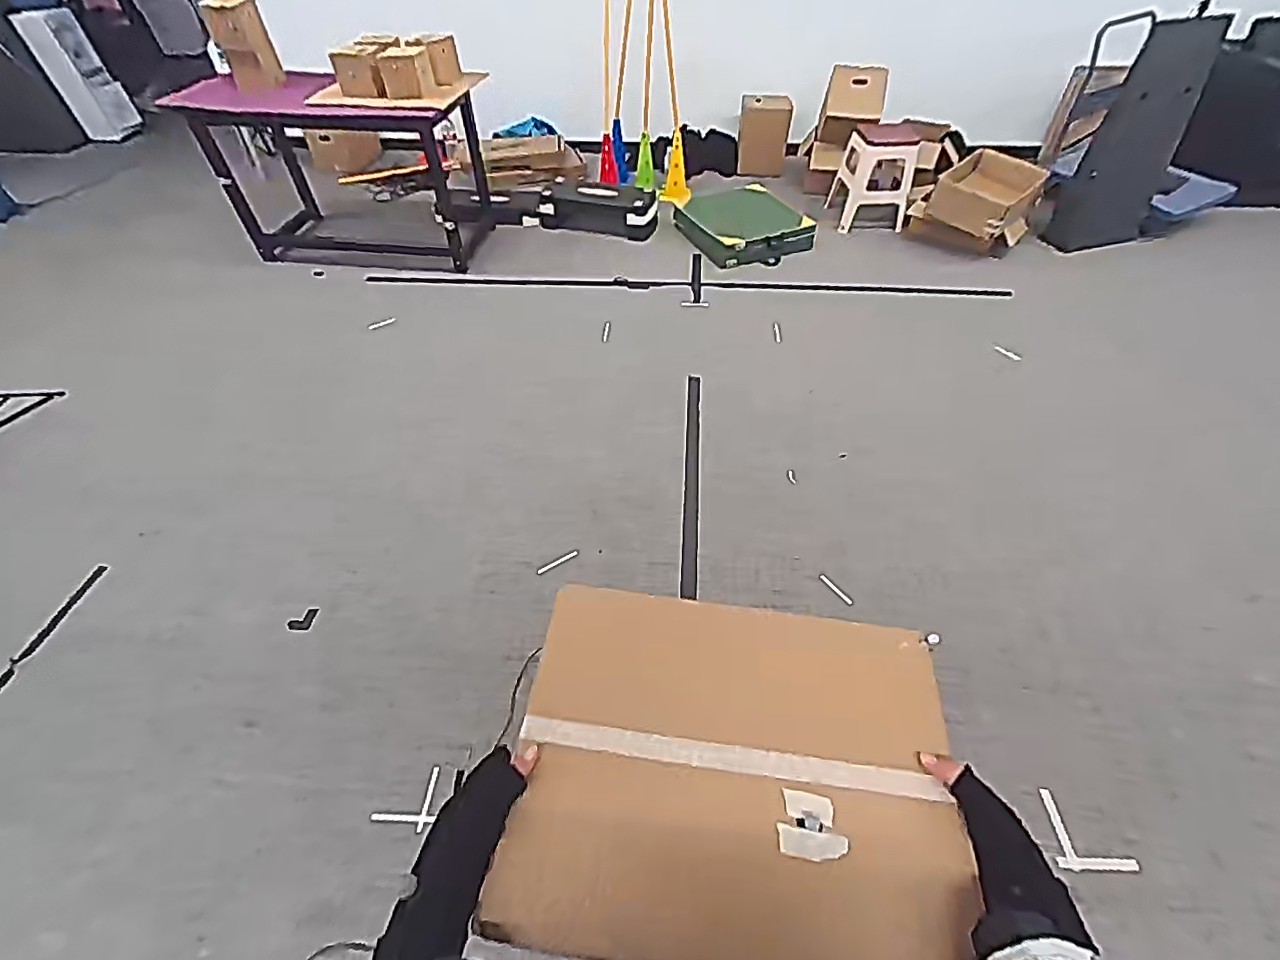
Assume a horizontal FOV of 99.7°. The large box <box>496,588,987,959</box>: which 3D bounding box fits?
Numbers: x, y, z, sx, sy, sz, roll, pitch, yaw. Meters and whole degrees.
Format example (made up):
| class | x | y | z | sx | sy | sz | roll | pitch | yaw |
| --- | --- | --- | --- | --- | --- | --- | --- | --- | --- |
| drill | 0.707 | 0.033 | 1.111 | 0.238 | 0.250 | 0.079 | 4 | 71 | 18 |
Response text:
| class | x | y | z | sx | sy | sz | roll | pitch | yaw |
| --- | --- | --- | --- | --- | --- | --- | --- | --- | --- |
| large box | 0.090 | 0.356 | 0.636 | 0.408 | 0.320 | 0.320 | 7 | 51 | 4 |
